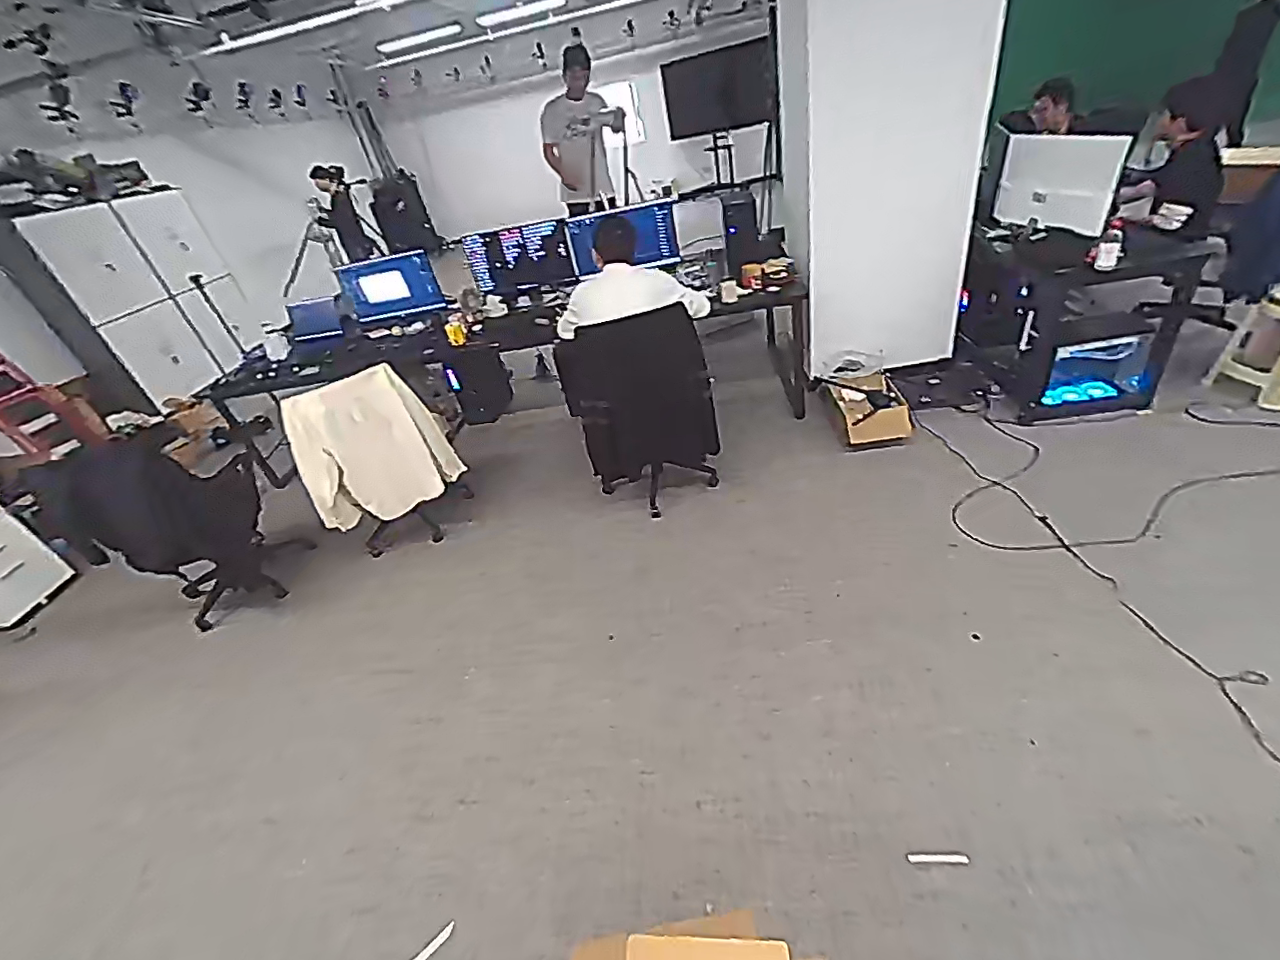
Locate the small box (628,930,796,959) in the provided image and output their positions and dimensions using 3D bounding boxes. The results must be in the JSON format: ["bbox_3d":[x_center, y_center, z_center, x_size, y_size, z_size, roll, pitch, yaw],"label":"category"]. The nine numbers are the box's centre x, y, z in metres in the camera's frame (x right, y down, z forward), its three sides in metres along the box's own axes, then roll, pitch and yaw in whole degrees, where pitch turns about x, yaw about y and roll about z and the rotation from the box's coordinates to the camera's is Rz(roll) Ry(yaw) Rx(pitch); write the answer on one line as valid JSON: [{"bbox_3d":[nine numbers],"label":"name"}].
[{"bbox_3d":[0.073,0.590,0.527,0.179,0.176,0.168,-1,15,4],"label":"small box"}]
